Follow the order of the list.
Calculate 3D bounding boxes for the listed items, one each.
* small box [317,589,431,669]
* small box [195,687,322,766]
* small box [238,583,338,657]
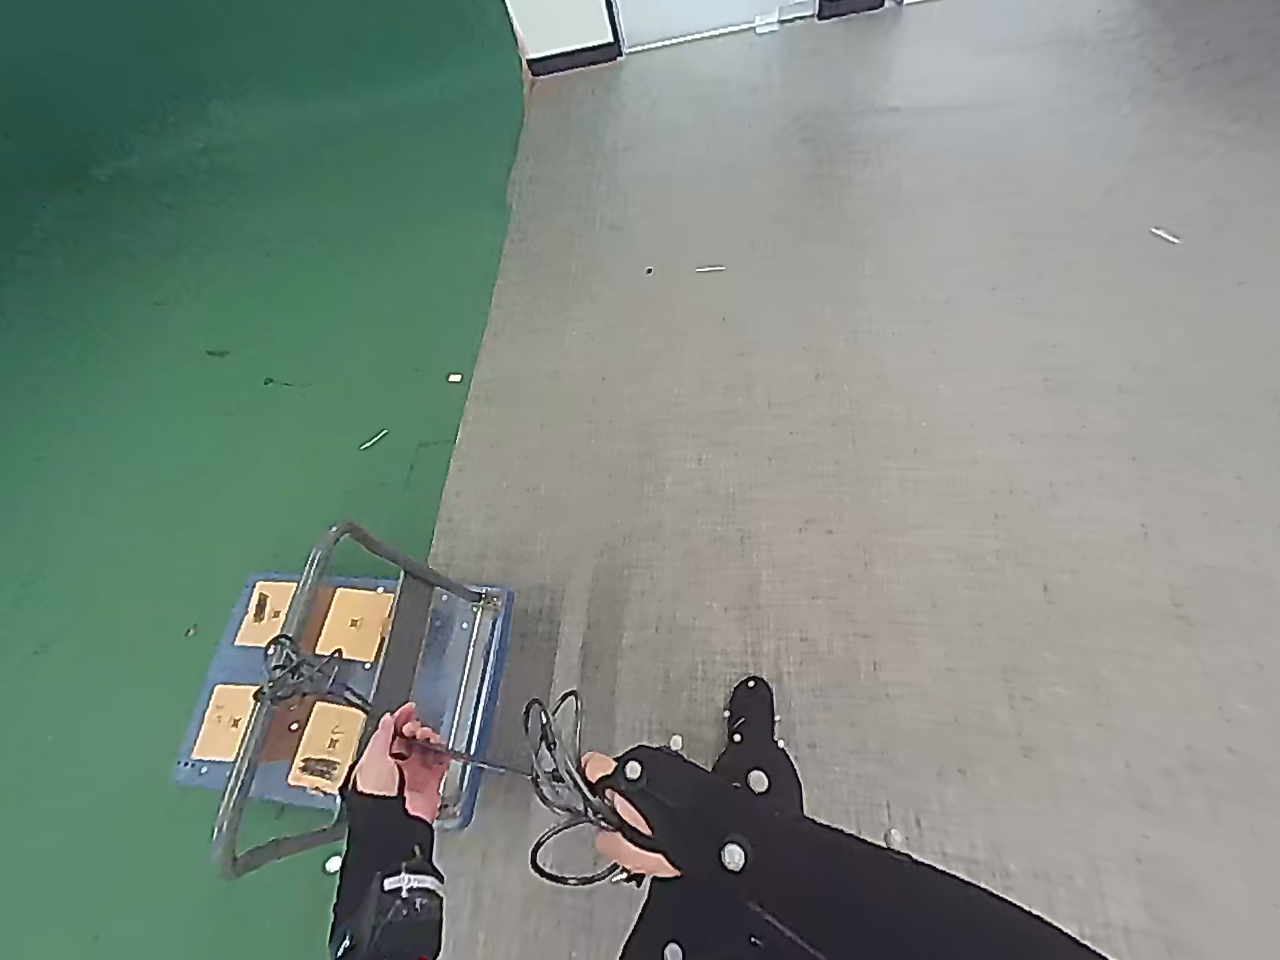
[{"bbox_3d":[-0.681,0.390,1.403,0.179,0.176,0.168,3,67,13],"label":"small box"},{"bbox_3d":[-0.946,0.615,1.360,0.179,0.176,0.168,-2,65,12],"label":"small box"},{"bbox_3d":[-0.918,0.381,1.460,0.179,0.176,0.168,0,67,11],"label":"small box"}]
